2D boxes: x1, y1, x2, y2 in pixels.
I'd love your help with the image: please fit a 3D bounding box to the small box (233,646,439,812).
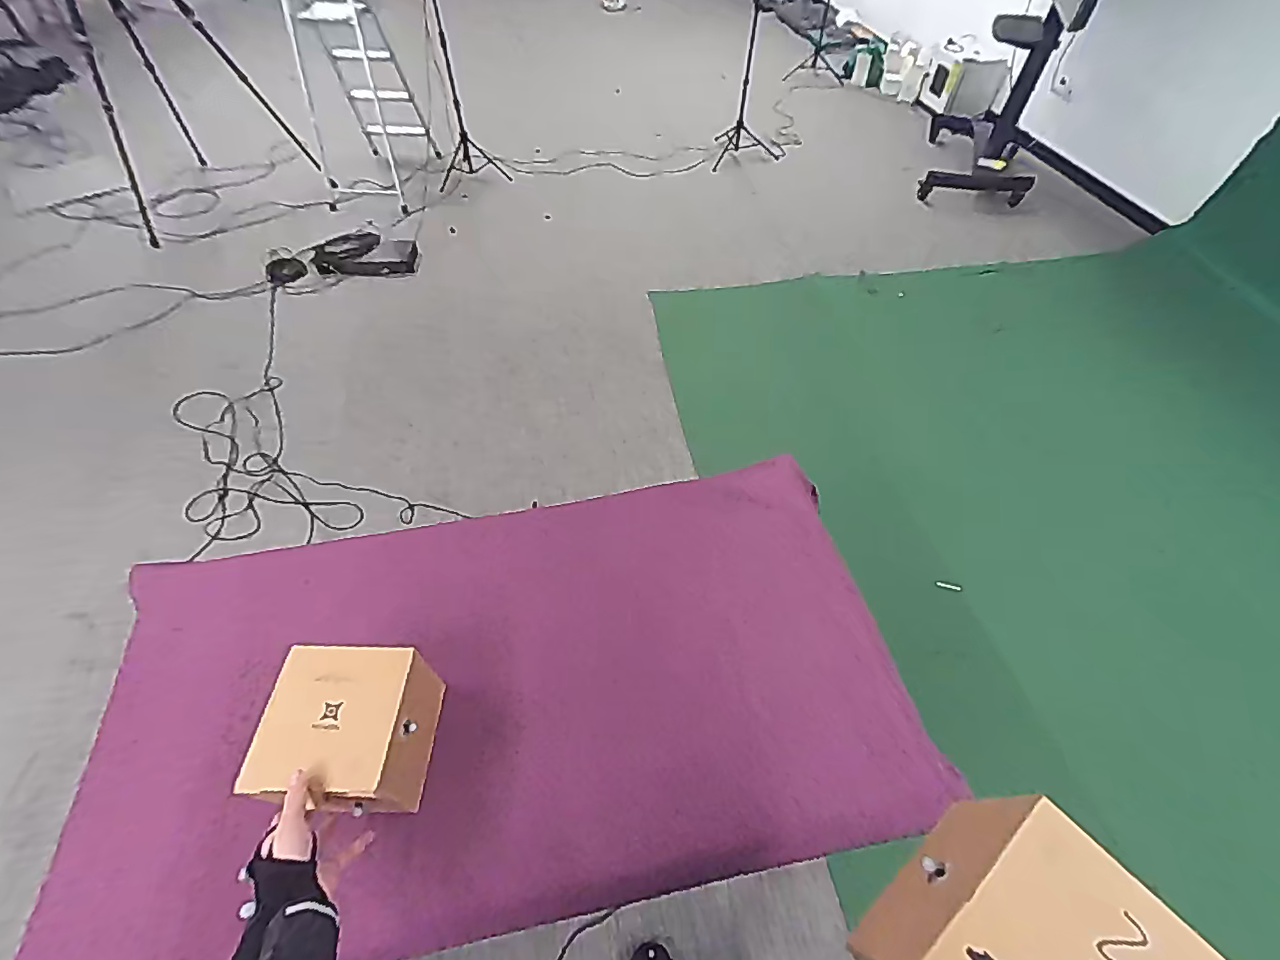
[{"bbox_3d":[-0.391,0.344,0.738,0.168,0.176,0.179,2,52,-1],"label":"small box"}]
